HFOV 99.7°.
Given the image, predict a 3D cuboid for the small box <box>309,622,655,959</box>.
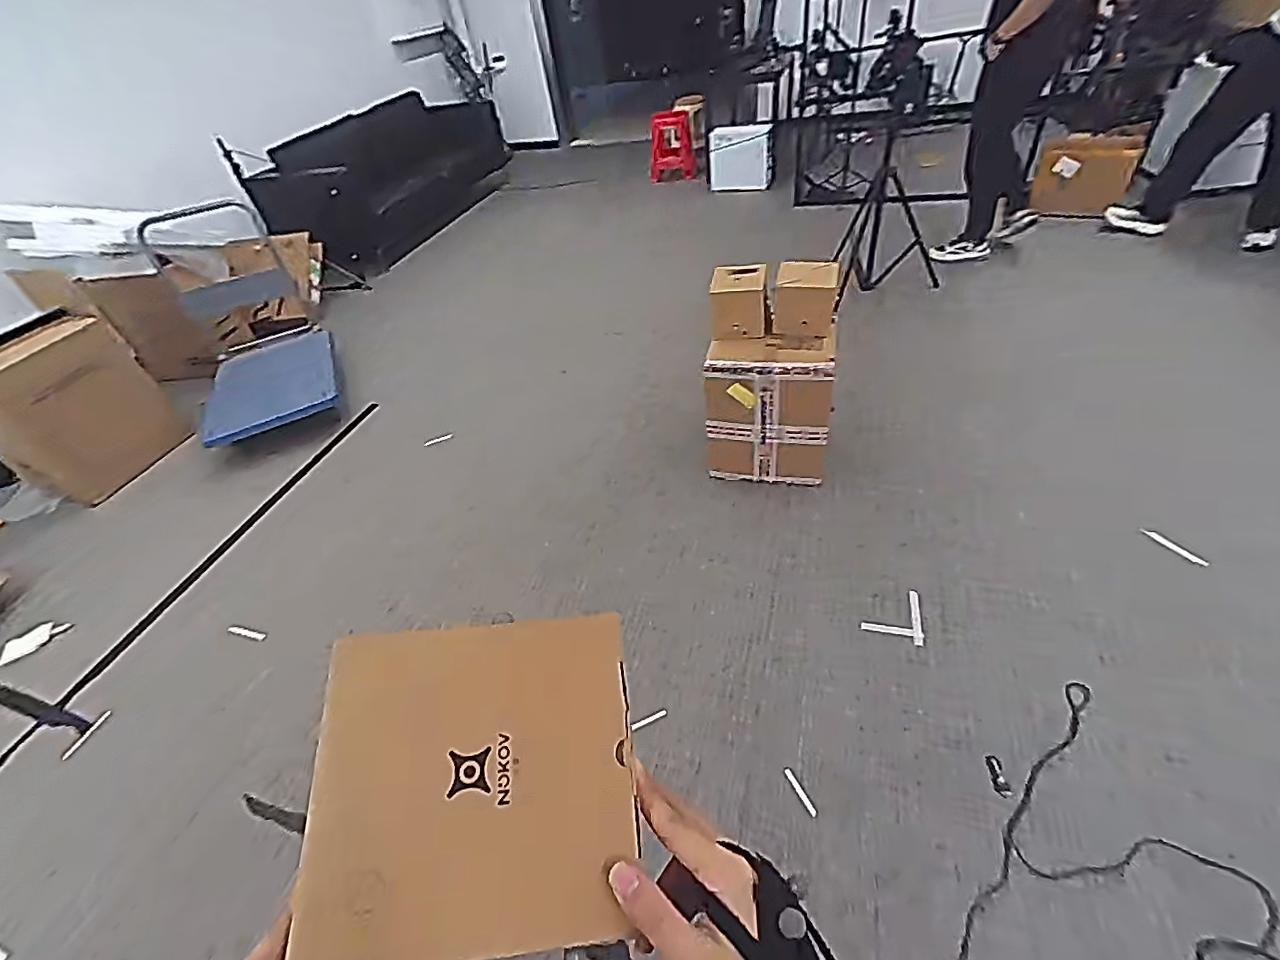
[{"bbox_3d":[-0.092,0.211,0.381,0.179,0.176,0.168,-3,60,-8],"label":"small box"}]
